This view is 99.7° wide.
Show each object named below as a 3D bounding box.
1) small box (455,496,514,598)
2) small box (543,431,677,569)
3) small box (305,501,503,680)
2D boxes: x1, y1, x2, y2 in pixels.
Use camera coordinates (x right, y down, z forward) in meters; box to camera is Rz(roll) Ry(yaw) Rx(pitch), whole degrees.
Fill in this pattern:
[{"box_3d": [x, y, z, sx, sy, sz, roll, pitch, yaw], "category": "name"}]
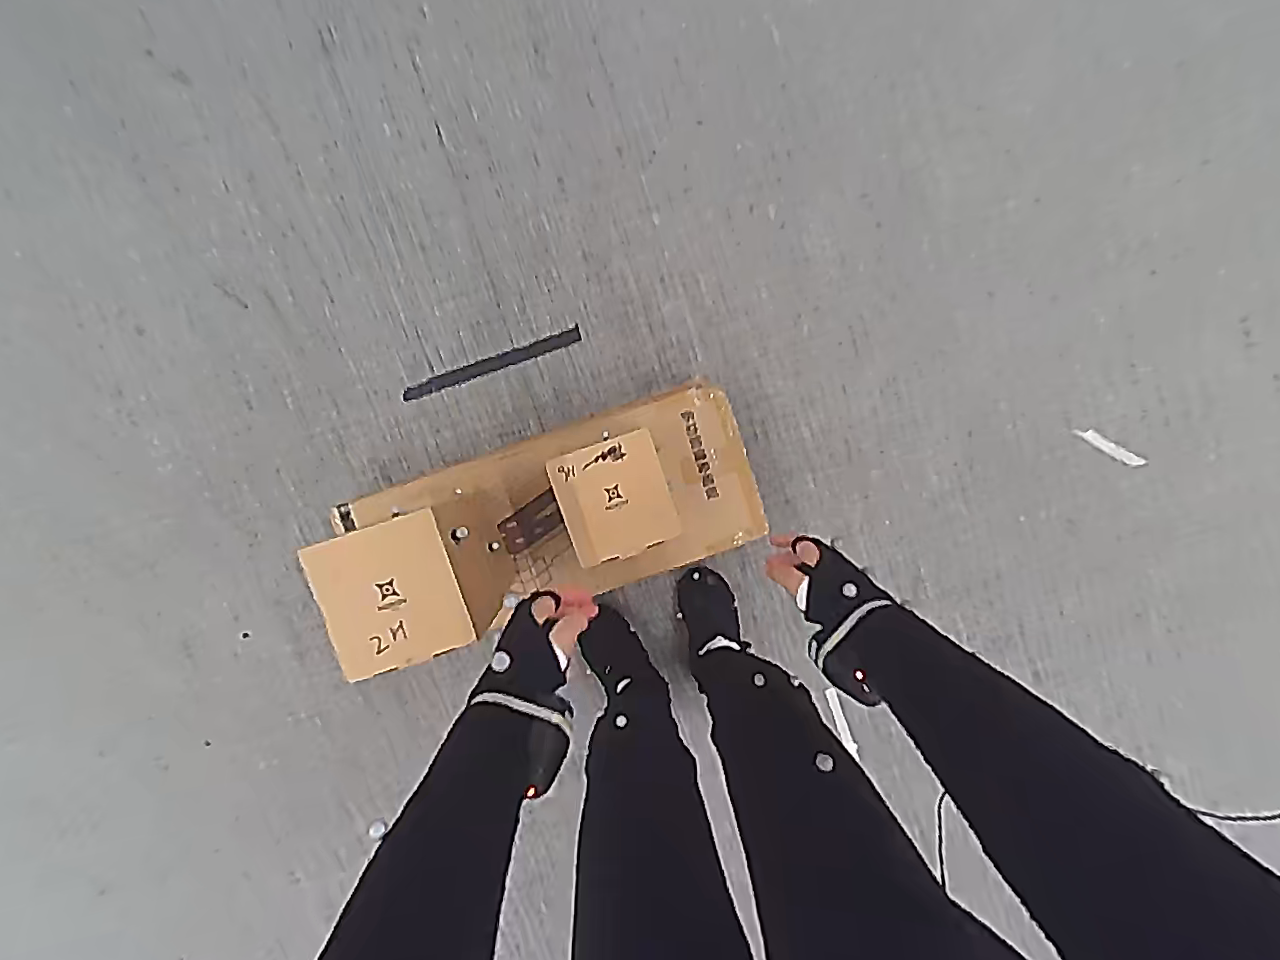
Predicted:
[{"box_3d": [-0.325, 0.133, 0.896, 0.168, 0.176, 0.179, -20, 96, -1], "category": "small box"}, {"box_3d": [-0.043, 0.024, 0.898, 0.168, 0.176, 0.179, -18, 96, 2], "category": "small box"}, {"box_3d": [-0.302, 0.133, 0.731, 0.168, 0.176, 0.179, -18, 95, -1], "category": "small box"}]
